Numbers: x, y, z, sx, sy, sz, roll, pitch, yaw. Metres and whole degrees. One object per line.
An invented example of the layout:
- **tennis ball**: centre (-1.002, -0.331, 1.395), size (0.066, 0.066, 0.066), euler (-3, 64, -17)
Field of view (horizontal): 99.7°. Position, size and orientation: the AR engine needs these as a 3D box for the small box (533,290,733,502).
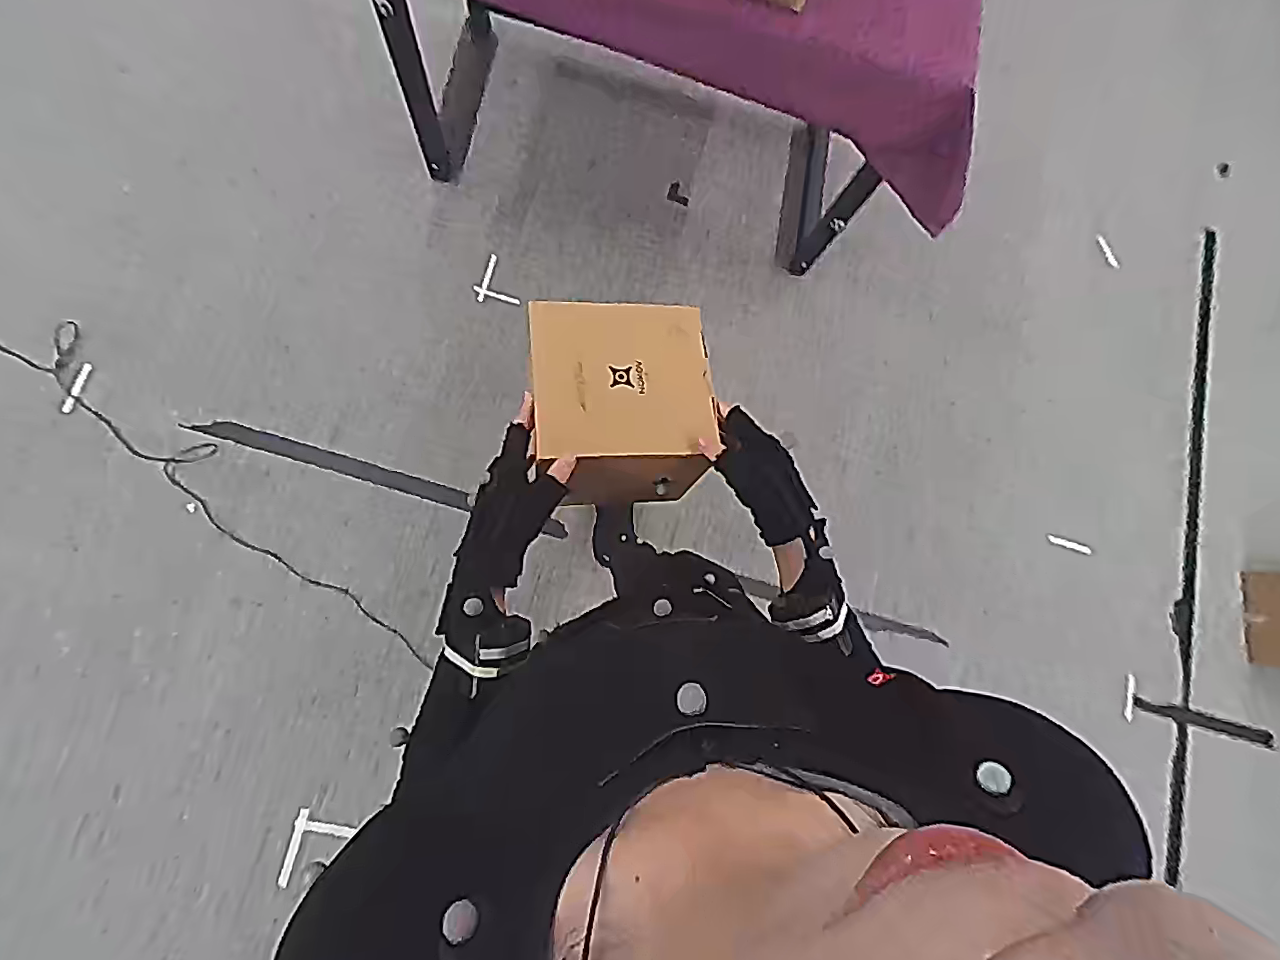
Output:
- **small box**: centre (-0.021, -0.080, 0.578), size (0.179, 0.176, 0.168), euler (-4, 72, -12)
